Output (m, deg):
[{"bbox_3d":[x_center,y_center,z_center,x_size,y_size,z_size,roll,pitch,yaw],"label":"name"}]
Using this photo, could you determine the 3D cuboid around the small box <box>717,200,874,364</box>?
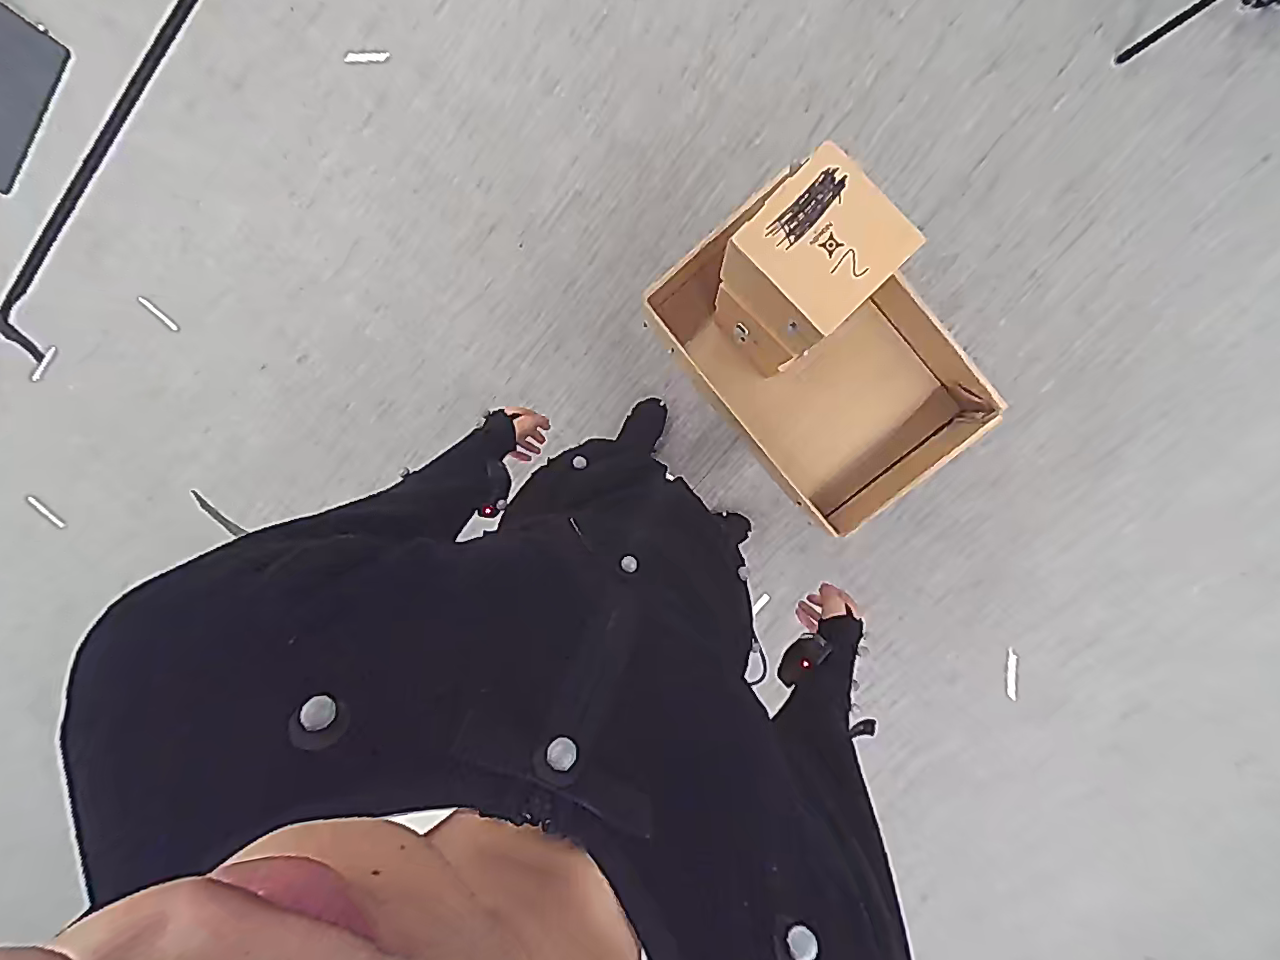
[{"bbox_3d":[0.245,-0.317,0.905,0.168,0.176,0.179,45,97,-1],"label":"small box"}]

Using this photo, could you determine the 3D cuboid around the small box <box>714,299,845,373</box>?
[{"bbox_3d":[0.263,-0.329,1.068,0.168,0.176,0.179,-43,93,8],"label":"small box"}]
